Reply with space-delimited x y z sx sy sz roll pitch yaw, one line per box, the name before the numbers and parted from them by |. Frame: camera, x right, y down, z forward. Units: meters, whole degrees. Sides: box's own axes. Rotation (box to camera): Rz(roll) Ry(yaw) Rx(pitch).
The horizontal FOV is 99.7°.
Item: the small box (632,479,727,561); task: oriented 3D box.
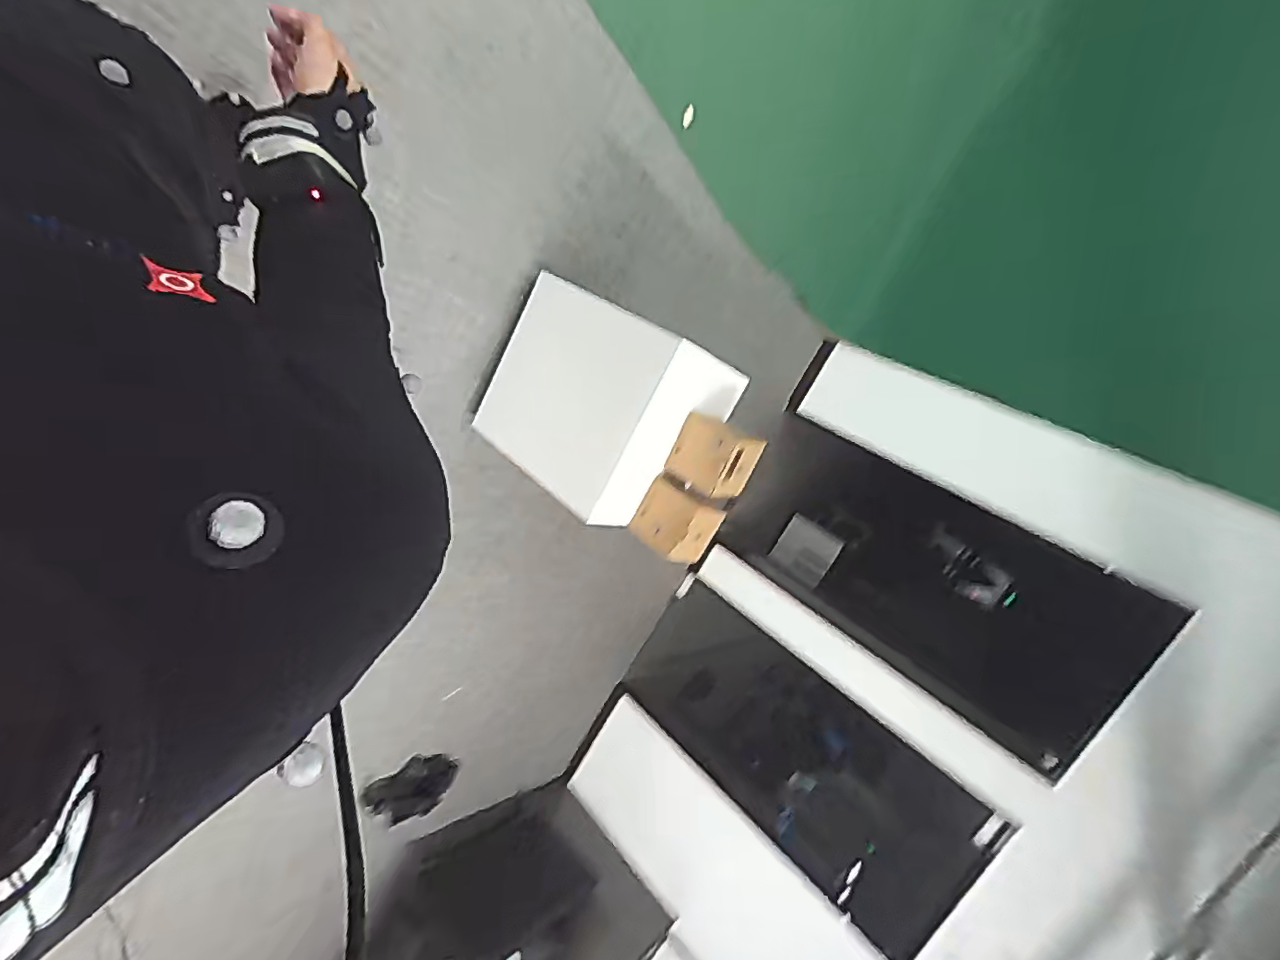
small box | 0.108 0.113 1.525 0.179 0.176 0.168 15 107 -57
